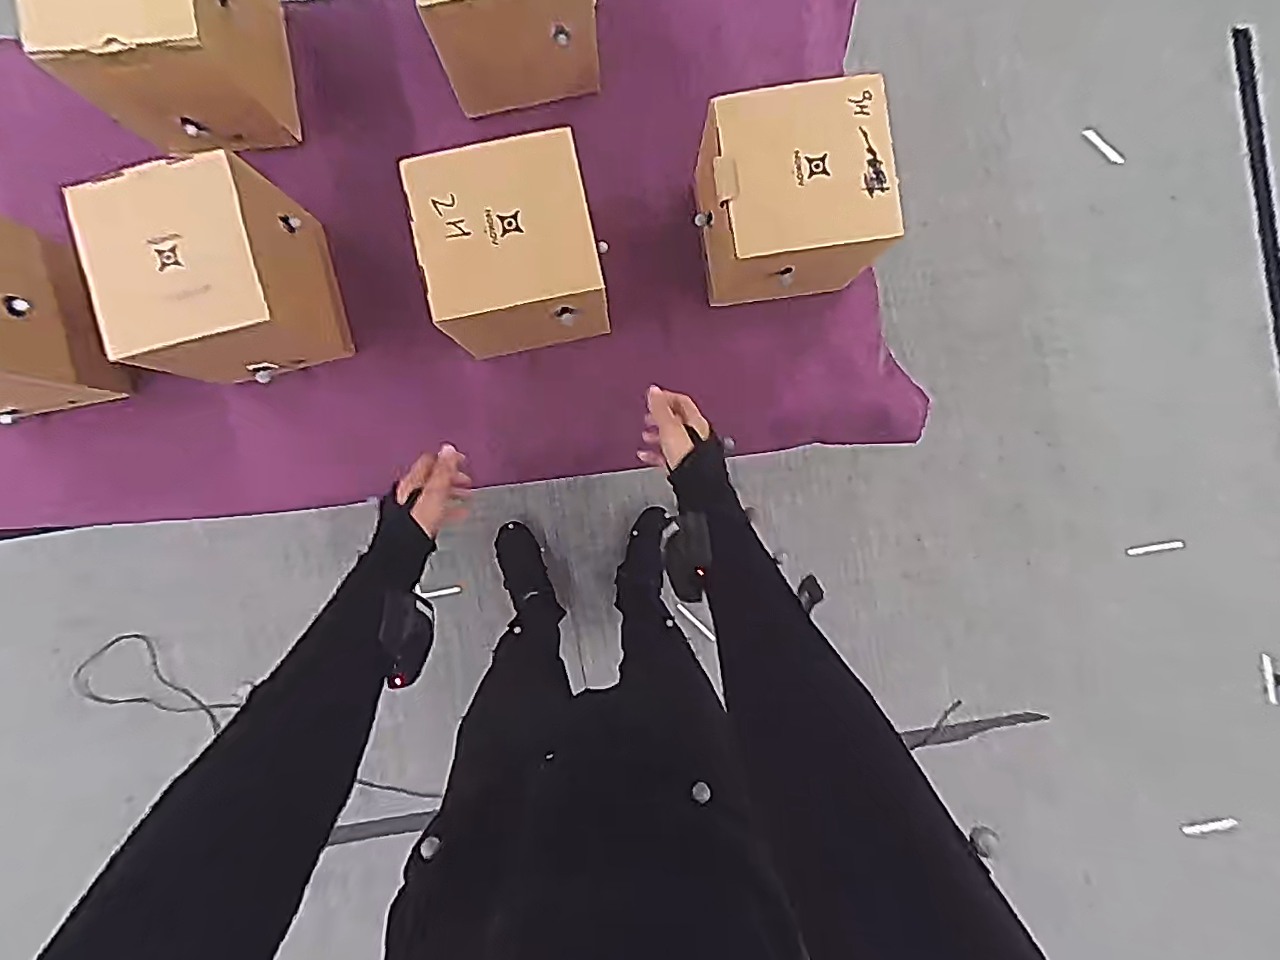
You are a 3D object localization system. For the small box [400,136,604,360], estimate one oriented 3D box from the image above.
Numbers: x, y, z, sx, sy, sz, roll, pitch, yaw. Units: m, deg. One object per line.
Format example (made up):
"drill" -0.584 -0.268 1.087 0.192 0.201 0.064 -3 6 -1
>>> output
"small box" -0.139 -0.247 0.615 0.179 0.176 0.168 -12 90 -1

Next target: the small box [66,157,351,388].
"small box" -0.463 -0.217 0.610 0.168 0.176 0.179 -14 91 0

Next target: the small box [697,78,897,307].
"small box" 0.163 -0.310 0.621 0.179 0.176 0.168 -8 92 0

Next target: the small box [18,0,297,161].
"small box" -0.518 -0.494 0.600 0.168 0.176 0.179 -7 92 -2

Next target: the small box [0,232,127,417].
"small box" -0.734 -0.171 0.603 0.168 0.176 0.179 -11 90 -1
